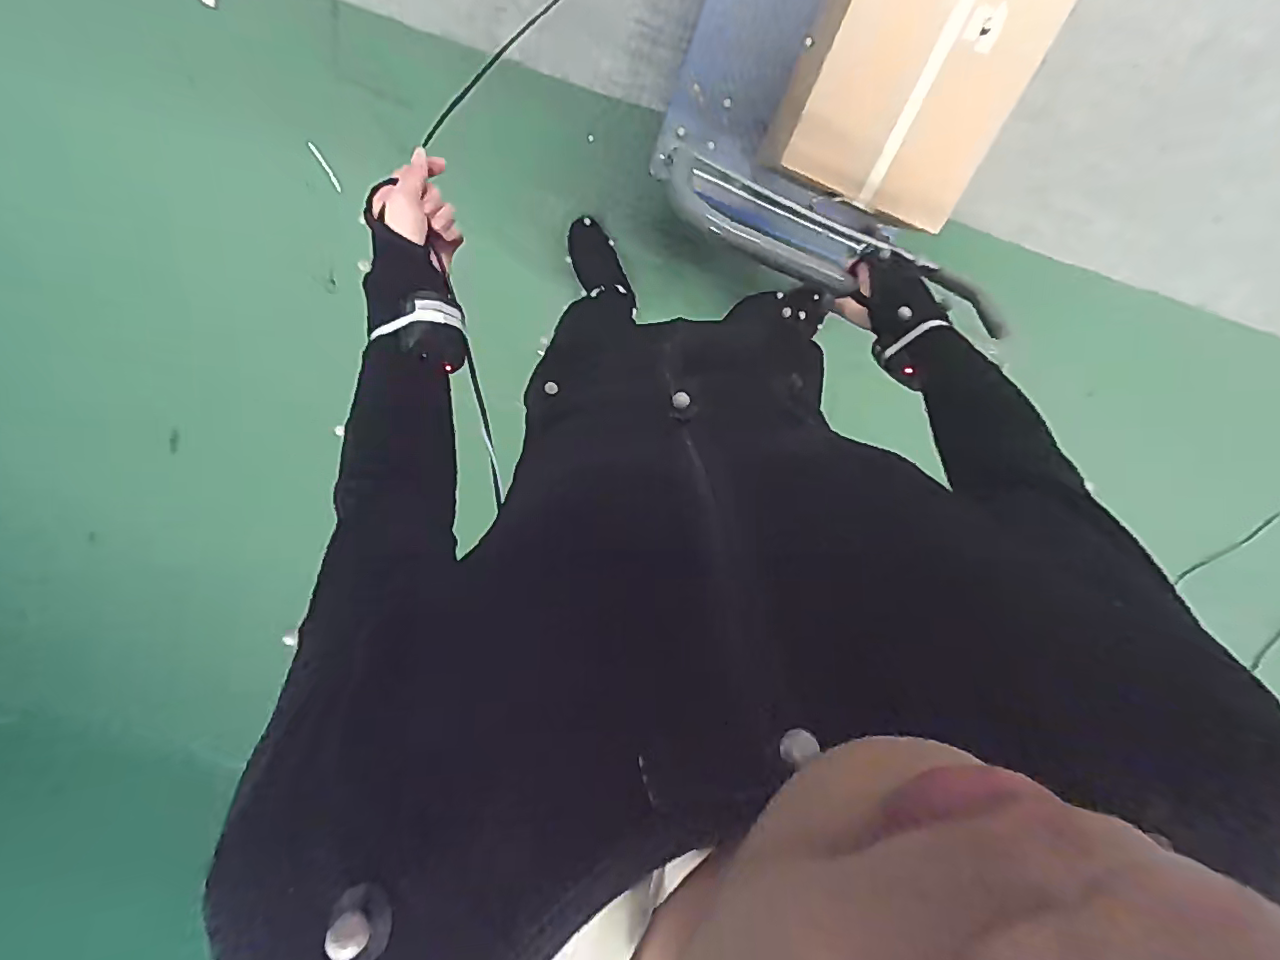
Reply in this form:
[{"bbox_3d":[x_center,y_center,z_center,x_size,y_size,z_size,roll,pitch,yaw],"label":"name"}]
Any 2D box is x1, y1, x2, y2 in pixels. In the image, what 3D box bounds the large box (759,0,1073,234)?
[{"bbox_3d":[0.456,-0.709,0.978,0.320,0.320,0.408,19,117,-9],"label":"large box"}]
